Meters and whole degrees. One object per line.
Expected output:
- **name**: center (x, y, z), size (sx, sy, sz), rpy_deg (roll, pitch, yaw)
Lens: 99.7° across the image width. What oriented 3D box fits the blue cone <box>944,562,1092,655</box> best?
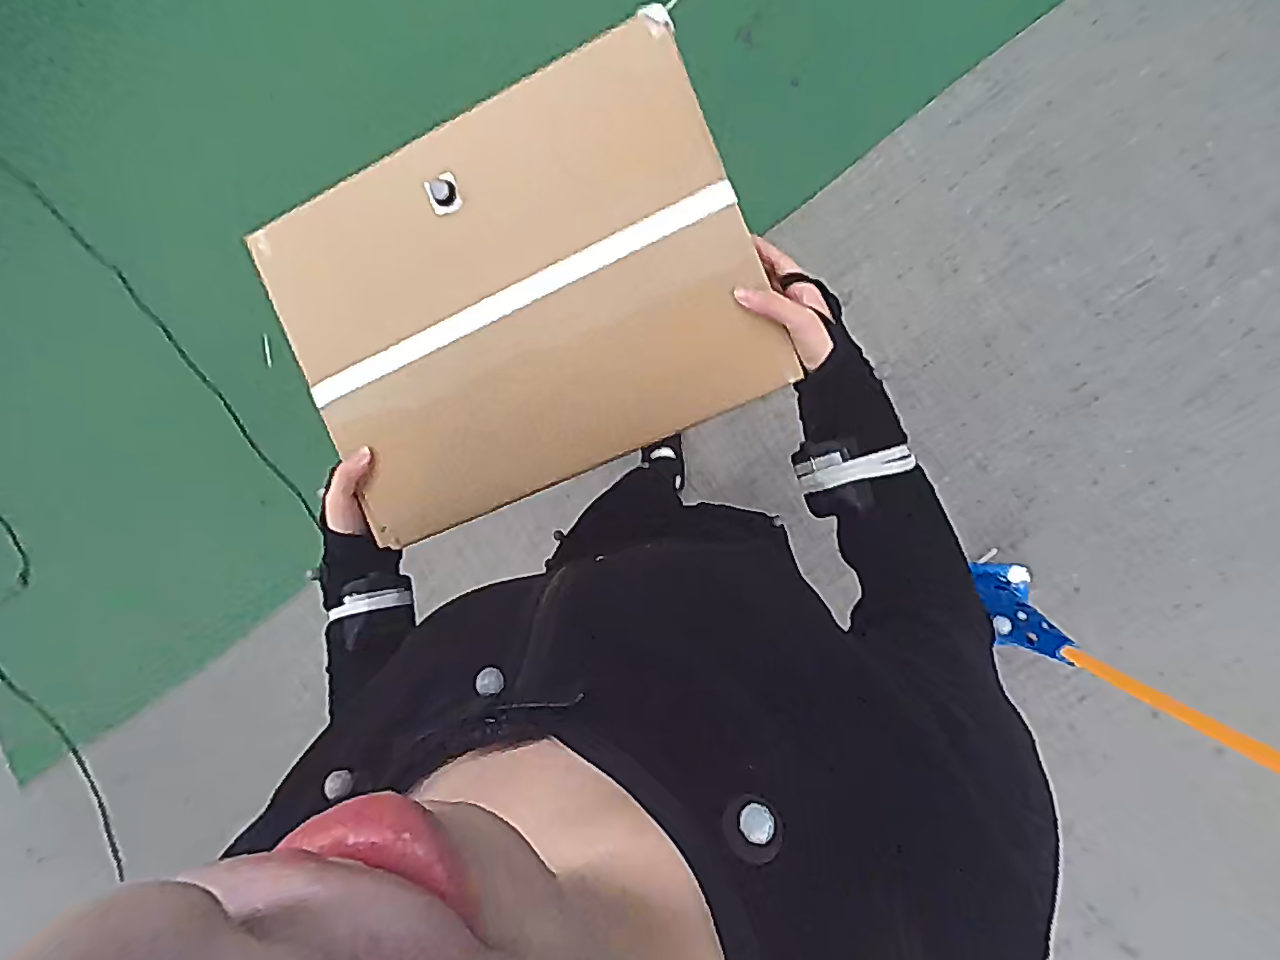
- **blue cone**: center (0.818, 0.299, 1.158), size (0.192, 0.380, 0.193), rpy_deg (-2, 90, 10)
